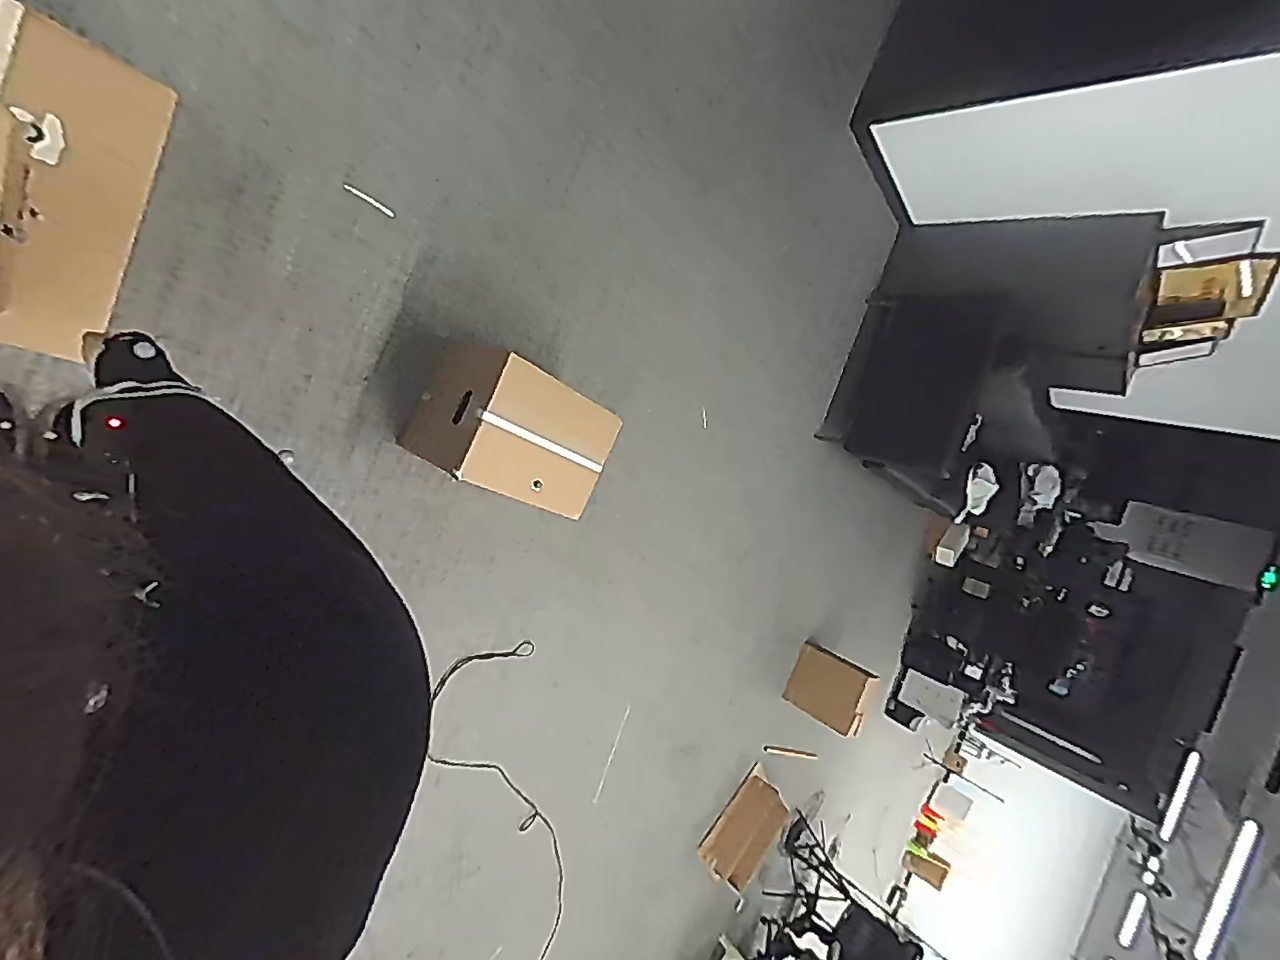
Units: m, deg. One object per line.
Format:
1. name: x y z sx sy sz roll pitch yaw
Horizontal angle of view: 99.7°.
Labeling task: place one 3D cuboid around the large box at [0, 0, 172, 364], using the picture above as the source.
1. large box: -0.911 -0.411 0.747 0.320 0.320 0.408 17 91 -48

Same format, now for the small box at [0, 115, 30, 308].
1. small box: -0.659 -0.250 0.461 0.168 0.176 0.179 10 97 -48
